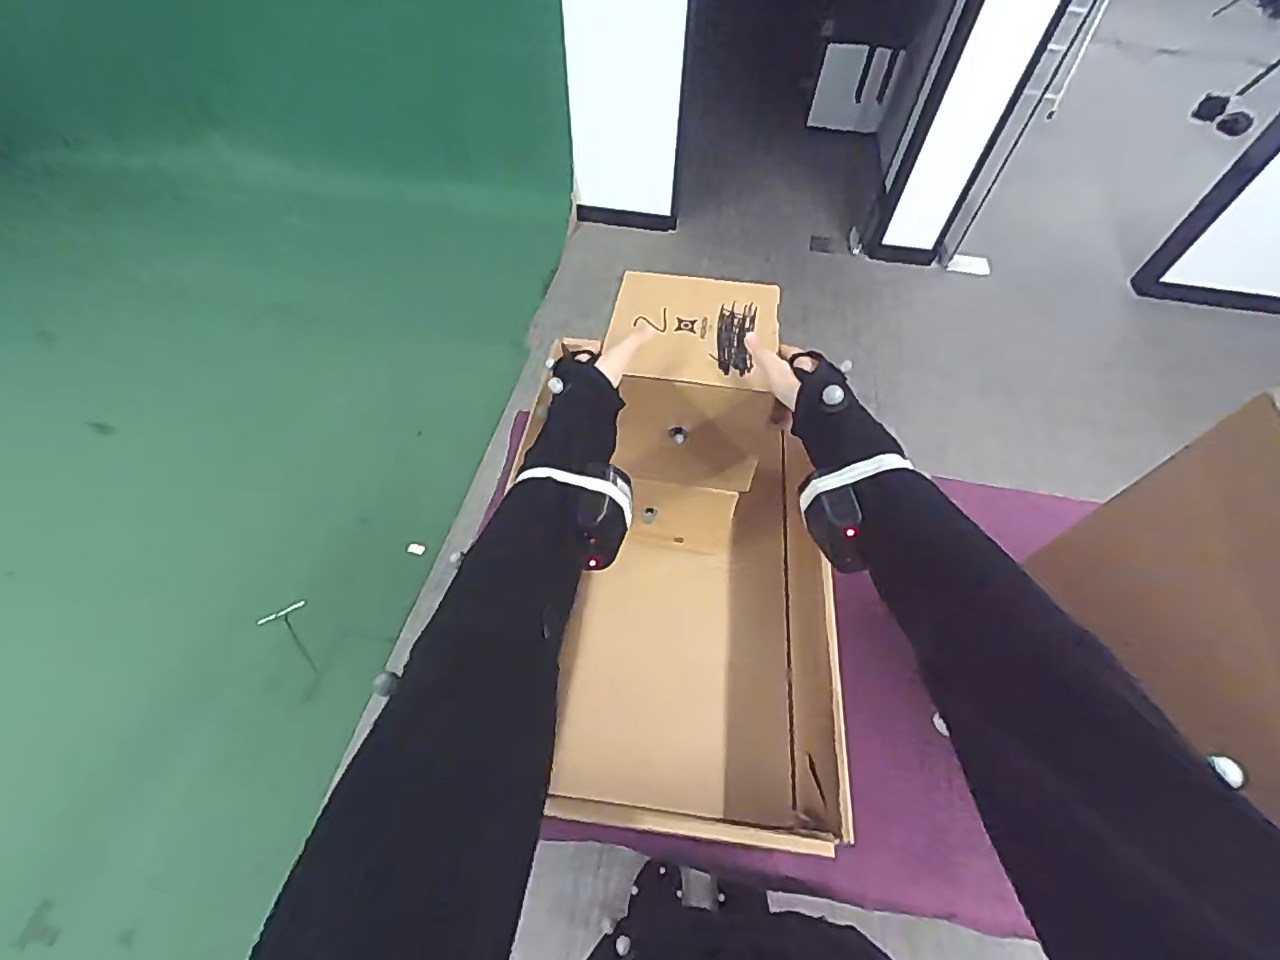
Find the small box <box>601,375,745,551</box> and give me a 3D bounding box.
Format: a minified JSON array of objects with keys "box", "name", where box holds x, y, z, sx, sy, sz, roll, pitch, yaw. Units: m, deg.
[{"box":[0.048,-0.019,0.761,0.168,0.176,0.179,8,56,5],"name":"small box"}]
